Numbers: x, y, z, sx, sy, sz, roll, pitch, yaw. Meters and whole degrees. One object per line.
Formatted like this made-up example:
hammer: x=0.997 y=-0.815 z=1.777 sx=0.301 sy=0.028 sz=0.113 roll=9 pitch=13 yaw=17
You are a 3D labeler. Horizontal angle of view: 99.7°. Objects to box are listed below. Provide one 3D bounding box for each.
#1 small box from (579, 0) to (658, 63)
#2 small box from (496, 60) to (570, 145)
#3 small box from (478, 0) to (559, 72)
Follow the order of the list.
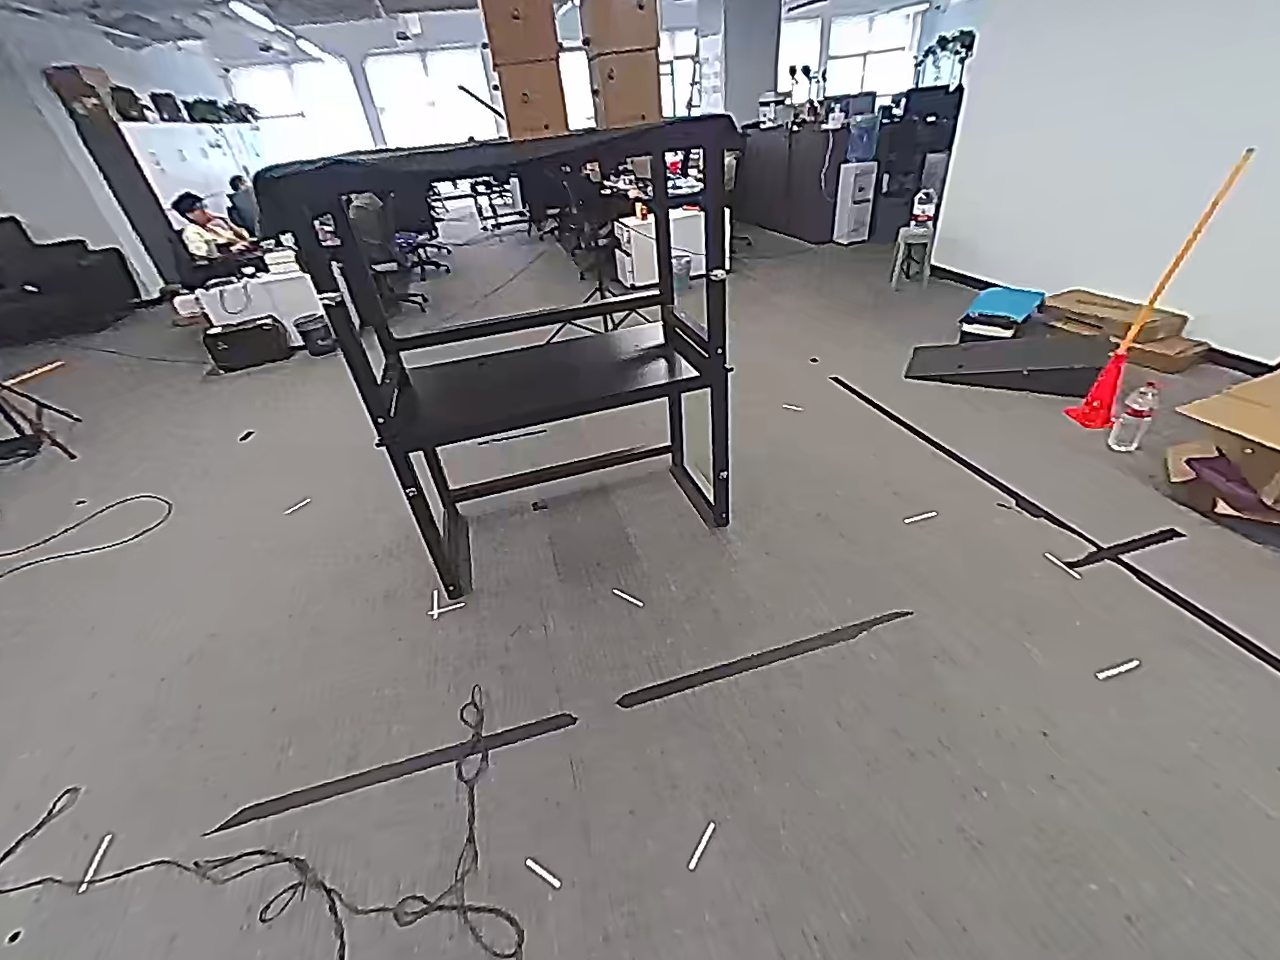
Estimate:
small box: x=-0.057 y=-1.216 z=1.420 sx=0.179 sy=0.176 sz=0.168 roll=-14 pitch=33 yaw=-9
small box: x=-0.294 y=-1.031 z=1.485 sx=0.168 sy=0.176 sz=0.179 roll=-12 pitch=33 yaw=-8
small box: x=-0.310 y=-1.162 z=1.386 sx=0.179 sy=0.176 sz=0.168 roll=-13 pitch=33 yaw=-7
